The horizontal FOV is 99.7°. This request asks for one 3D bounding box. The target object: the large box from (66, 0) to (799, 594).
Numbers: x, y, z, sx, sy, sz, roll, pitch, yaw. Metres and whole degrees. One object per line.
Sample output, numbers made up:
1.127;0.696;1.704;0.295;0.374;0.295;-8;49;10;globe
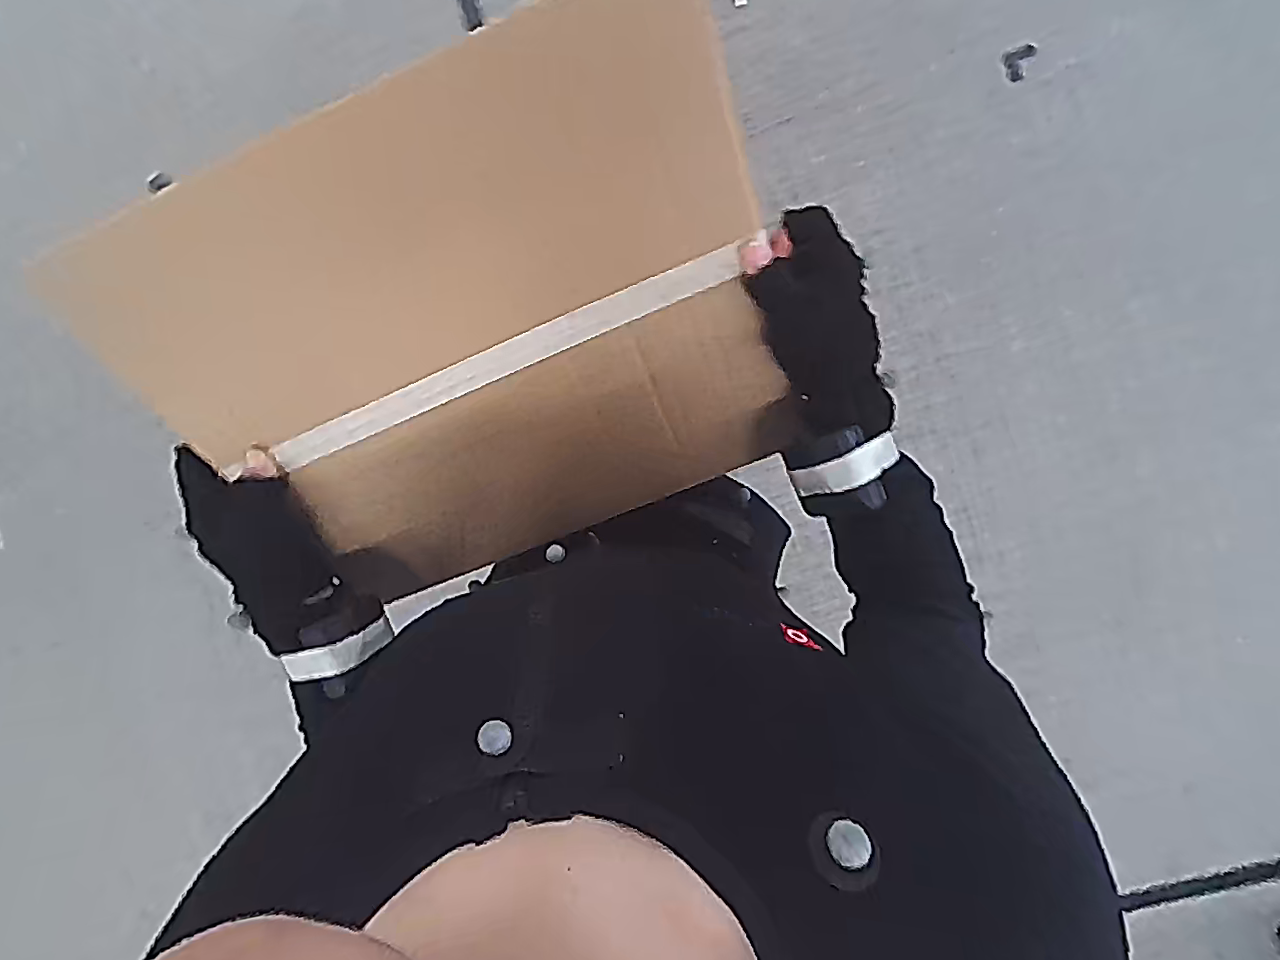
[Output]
-0.125;-0.165;0.500;0.408;0.320;0.320;-22;125;7;large box
